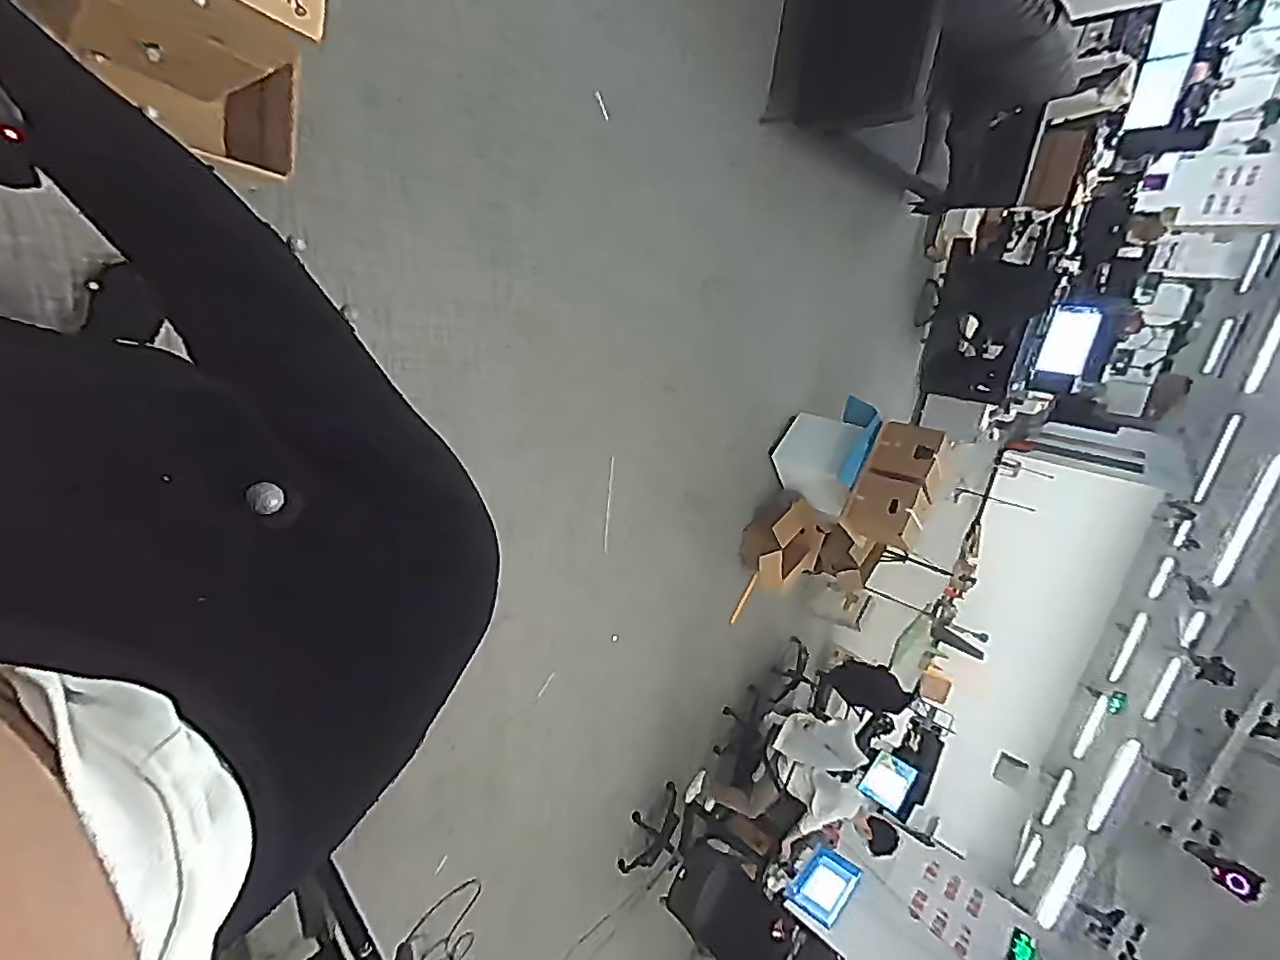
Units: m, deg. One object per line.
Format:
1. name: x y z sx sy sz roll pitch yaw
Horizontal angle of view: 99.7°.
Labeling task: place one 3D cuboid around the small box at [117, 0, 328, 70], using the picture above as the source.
1. small box: -0.430 -0.564 0.546 0.168 0.176 0.179 -2 109 -48

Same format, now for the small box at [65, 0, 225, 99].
1. small box: -0.669 -0.665 0.746 0.168 0.176 0.179 -2 108 -50

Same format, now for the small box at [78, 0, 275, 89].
1. small box: -0.551 -0.612 0.647 0.168 0.176 0.179 -2 109 -49
